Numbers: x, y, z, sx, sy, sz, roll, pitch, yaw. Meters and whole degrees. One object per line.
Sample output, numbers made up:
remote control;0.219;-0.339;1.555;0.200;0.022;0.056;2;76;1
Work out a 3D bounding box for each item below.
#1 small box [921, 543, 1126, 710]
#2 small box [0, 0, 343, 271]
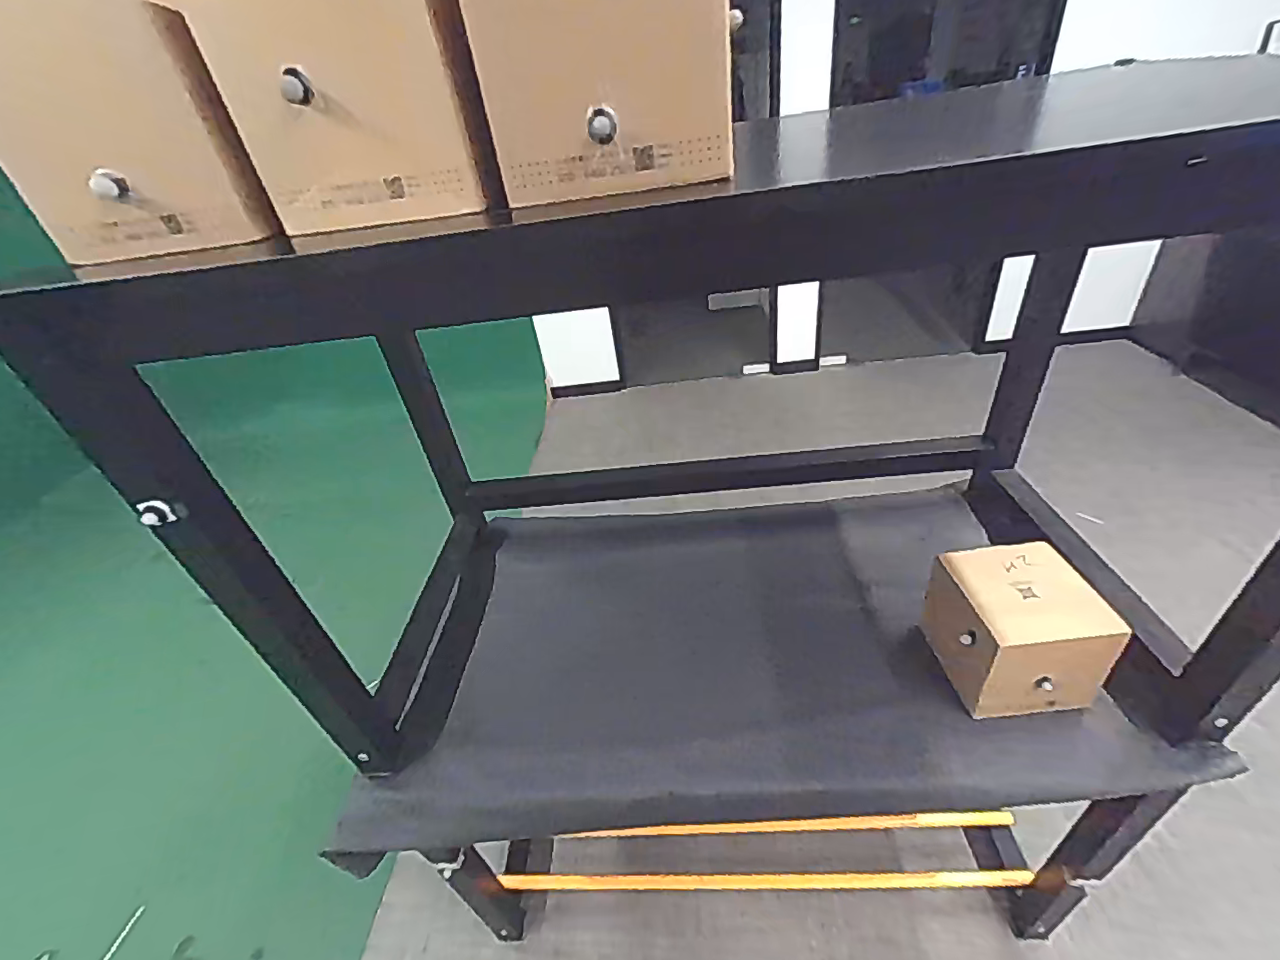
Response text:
small box;0.544;0.221;0.800;0.168;0.176;0.179;-7;34;2
small box;-0.389;-0.290;0.460;0.168;0.176;0.179;-6;36;4
